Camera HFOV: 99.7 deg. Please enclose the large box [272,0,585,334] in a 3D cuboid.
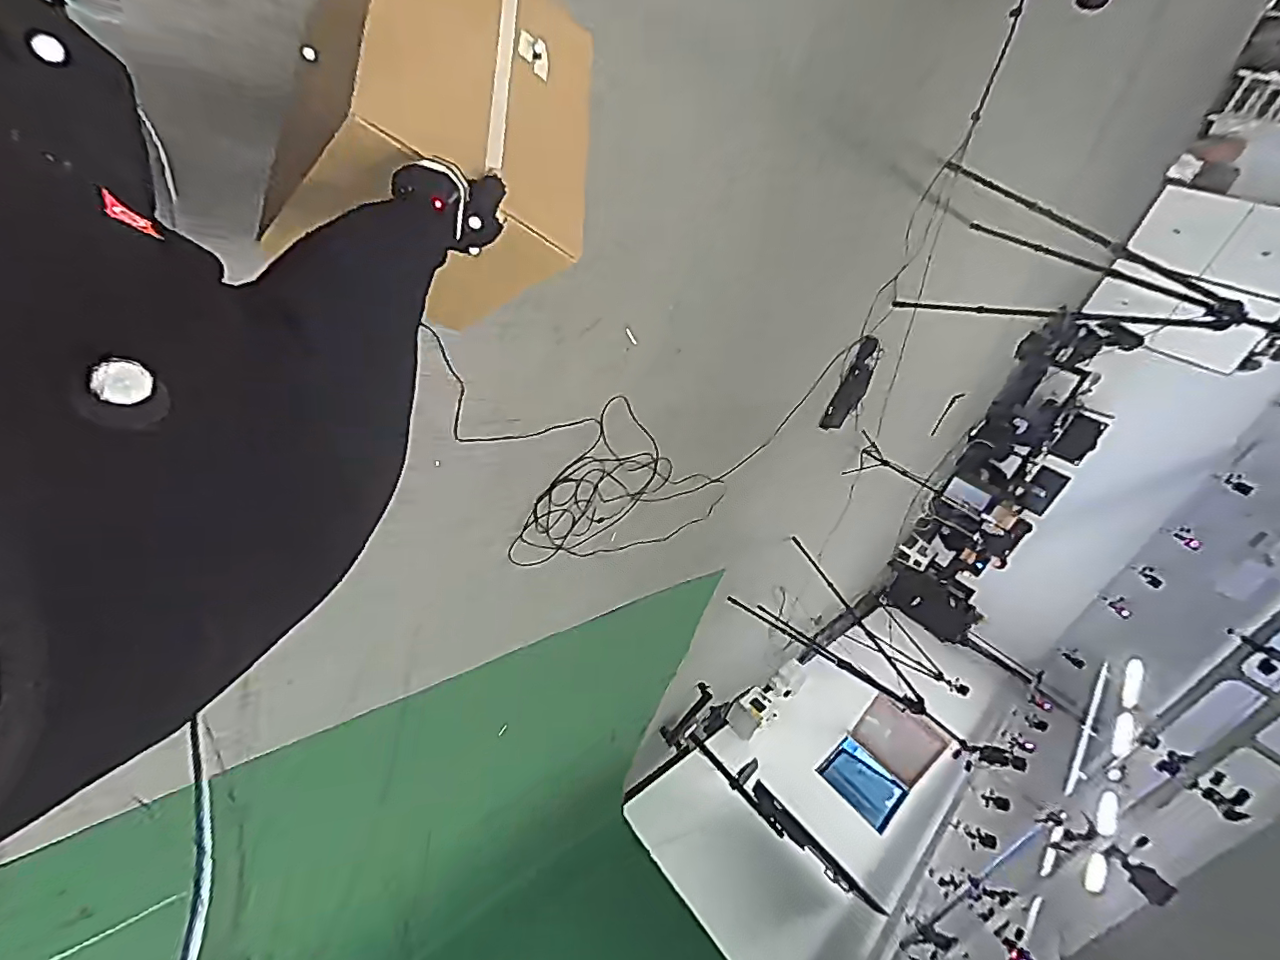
[{"bbox_3d":[-0.300,-0.495,0.802,0.320,0.320,0.408,17,68,-47],"label":"large box"}]
